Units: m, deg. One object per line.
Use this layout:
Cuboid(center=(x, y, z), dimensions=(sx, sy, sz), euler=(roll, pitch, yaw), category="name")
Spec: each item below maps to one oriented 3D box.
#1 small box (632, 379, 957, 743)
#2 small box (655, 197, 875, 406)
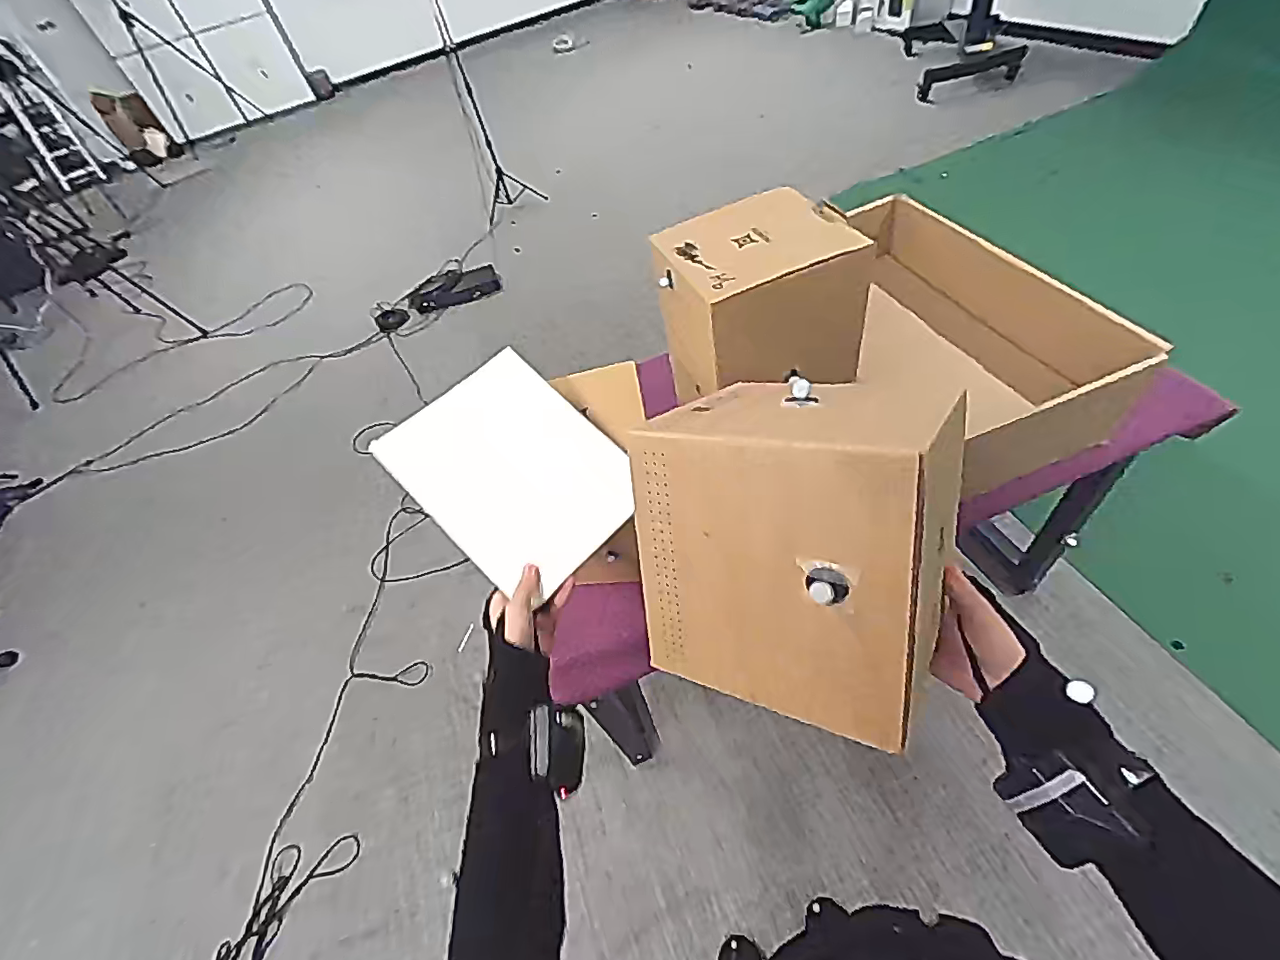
Cuboid(center=(0.108, 0.032, 0.370), dimensions=(0.176, 0.179, 0.168), euler=(7, 21, 35), category="small box")
Cuboid(center=(0.133, -0.186, 0.616), dimensions=(0.179, 0.176, 0.168), euler=(-21, 47, -5), category="small box")
